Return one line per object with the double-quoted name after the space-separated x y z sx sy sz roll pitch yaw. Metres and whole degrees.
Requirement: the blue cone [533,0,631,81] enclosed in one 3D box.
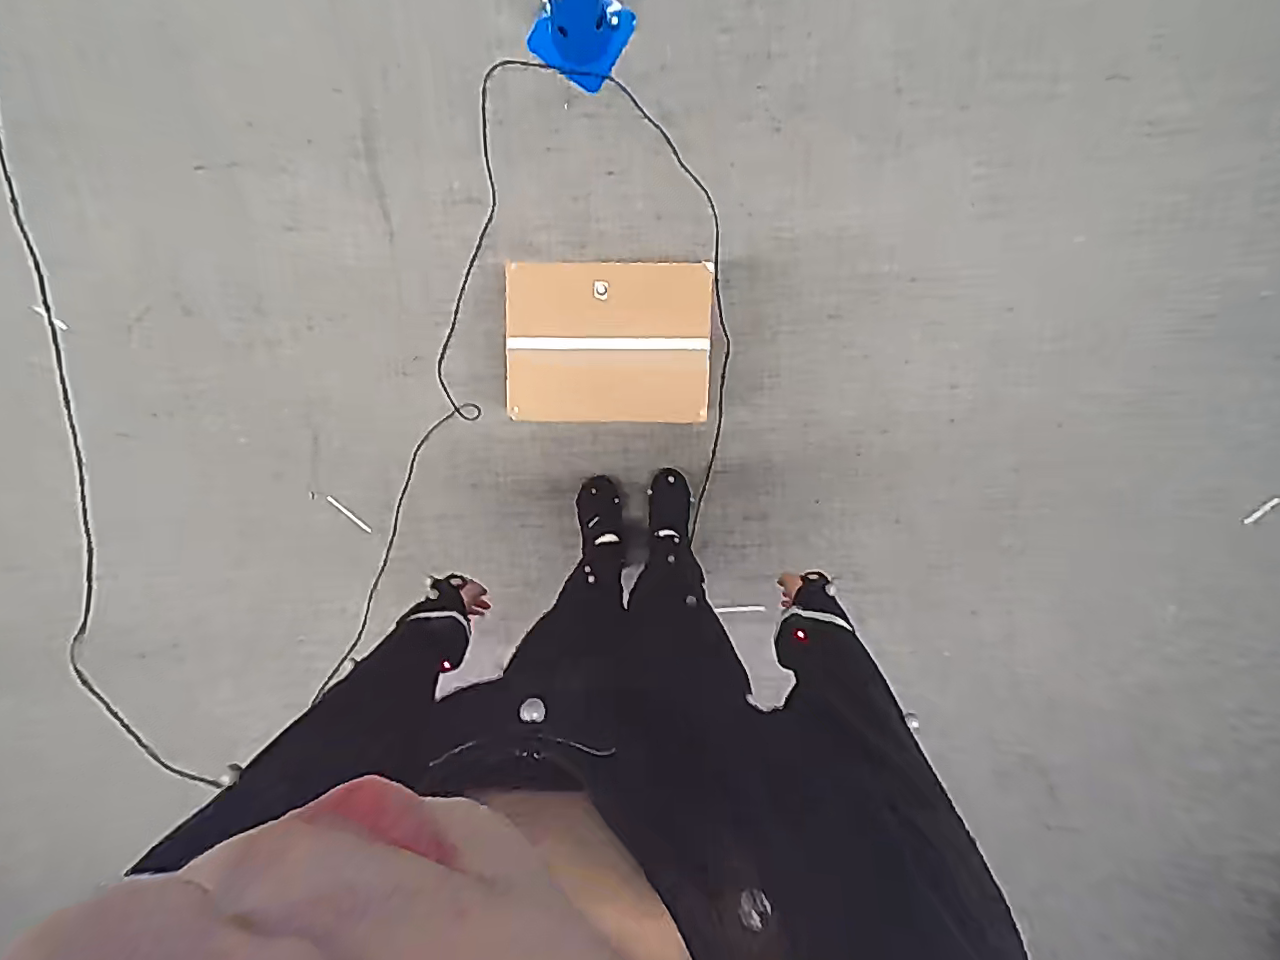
-0.131 -1.015 1.067 0.192 0.380 0.193 30 97 -5 "blue cone"
